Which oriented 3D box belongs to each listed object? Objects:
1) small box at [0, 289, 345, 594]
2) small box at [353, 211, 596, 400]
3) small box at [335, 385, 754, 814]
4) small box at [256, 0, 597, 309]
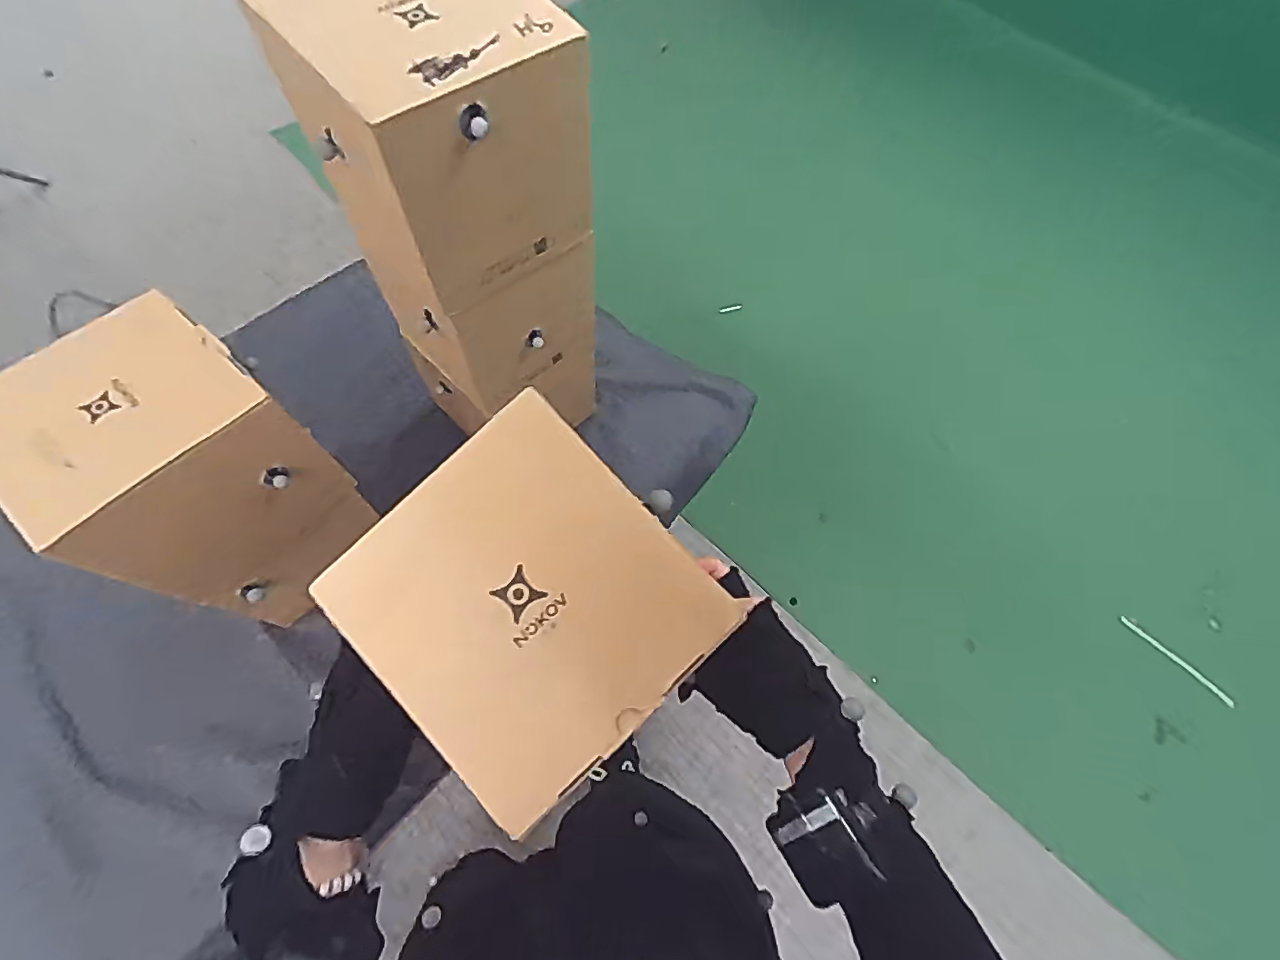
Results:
[{"bbox_3d":[-0.403,-0.026,0.488,0.168,0.176,0.179,40,69,14],"label":"small box"},{"bbox_3d":[-0.162,-0.211,0.590,0.168,0.176,0.179,-40,74,-19],"label":"small box"},{"bbox_3d":[-0.053,0.071,0.374,0.168,0.176,0.179,-43,83,-5],"label":"small box"},{"bbox_3d":[-0.151,-0.278,0.440,0.168,0.176,0.179,-38,73,-18],"label":"small box"}]
